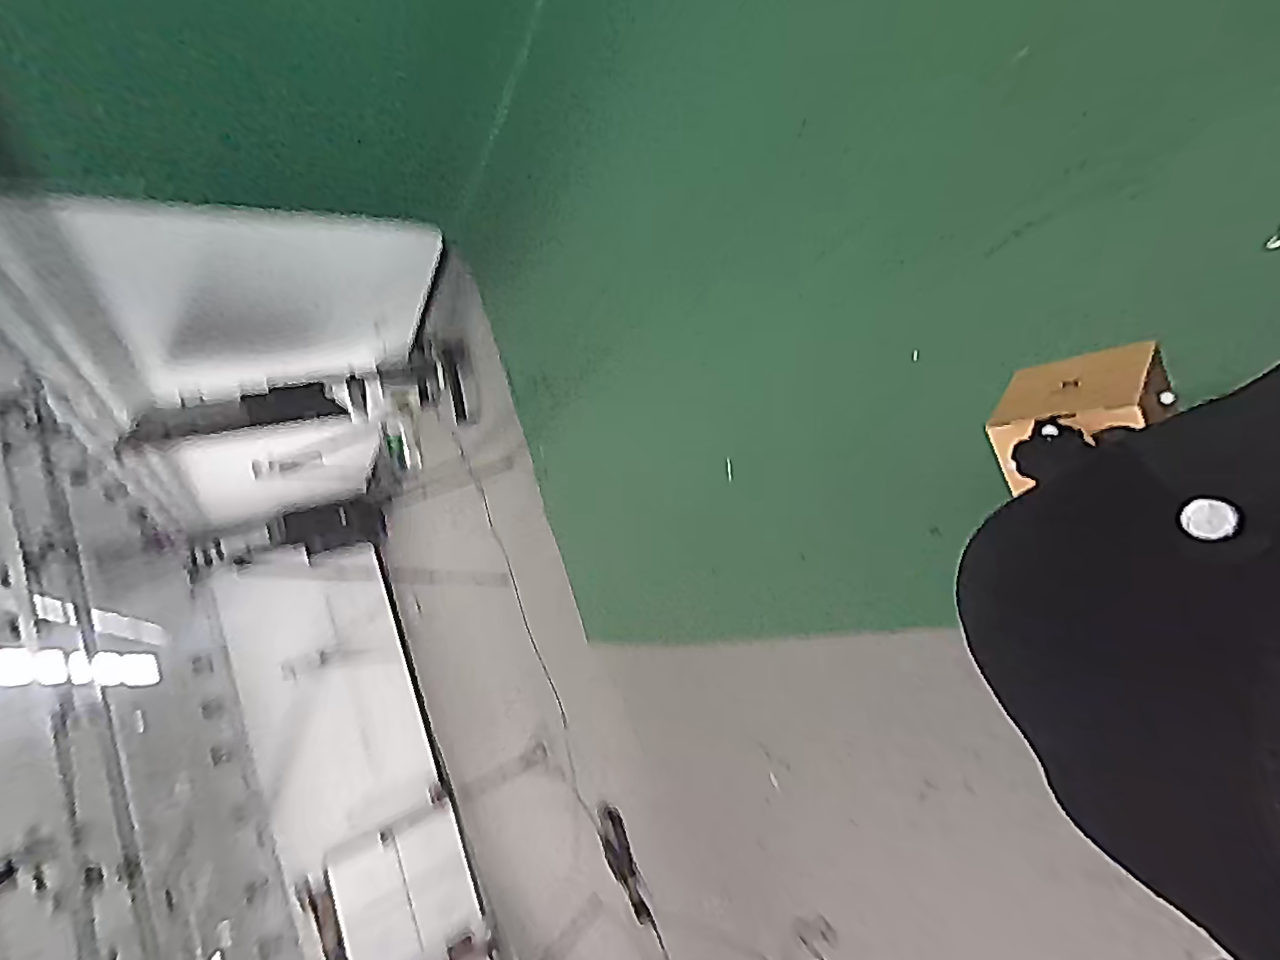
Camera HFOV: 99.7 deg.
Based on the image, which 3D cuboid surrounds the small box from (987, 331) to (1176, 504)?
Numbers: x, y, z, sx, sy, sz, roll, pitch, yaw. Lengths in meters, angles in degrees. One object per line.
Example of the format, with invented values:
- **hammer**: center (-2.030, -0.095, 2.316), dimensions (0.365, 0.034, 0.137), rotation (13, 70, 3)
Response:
- **small box**: center (0.638, -0.082, 0.778), dimensions (0.168, 0.179, 0.176), rotation (-7, 120, 54)
